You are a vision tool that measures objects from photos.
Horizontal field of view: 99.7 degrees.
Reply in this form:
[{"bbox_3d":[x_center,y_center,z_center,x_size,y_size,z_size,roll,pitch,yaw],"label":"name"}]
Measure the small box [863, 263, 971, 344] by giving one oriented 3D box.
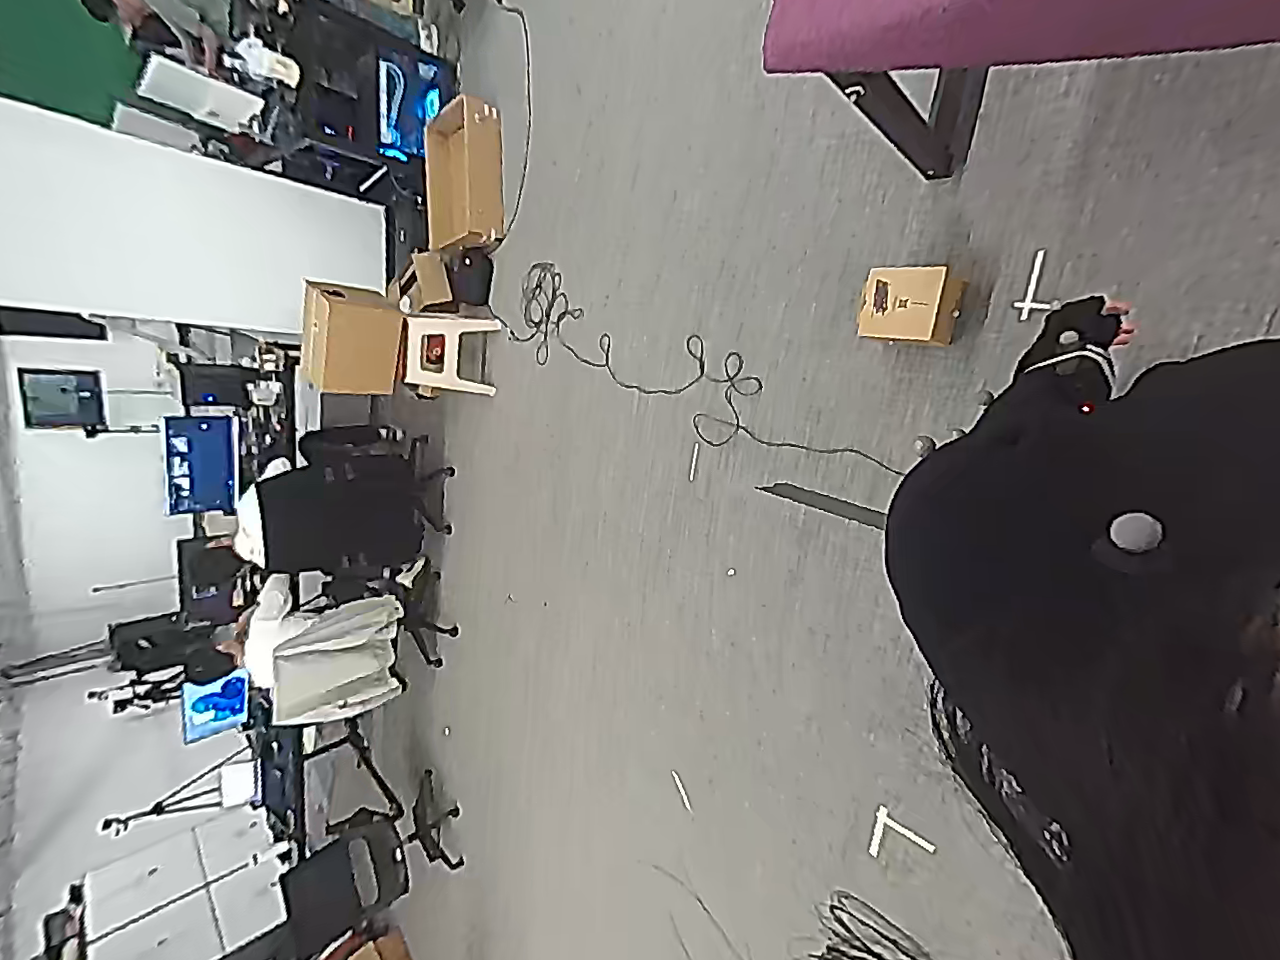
[{"bbox_3d":[0.681,-0.429,1.328,0.179,0.176,0.168,18,108,41],"label":"small box"}]
